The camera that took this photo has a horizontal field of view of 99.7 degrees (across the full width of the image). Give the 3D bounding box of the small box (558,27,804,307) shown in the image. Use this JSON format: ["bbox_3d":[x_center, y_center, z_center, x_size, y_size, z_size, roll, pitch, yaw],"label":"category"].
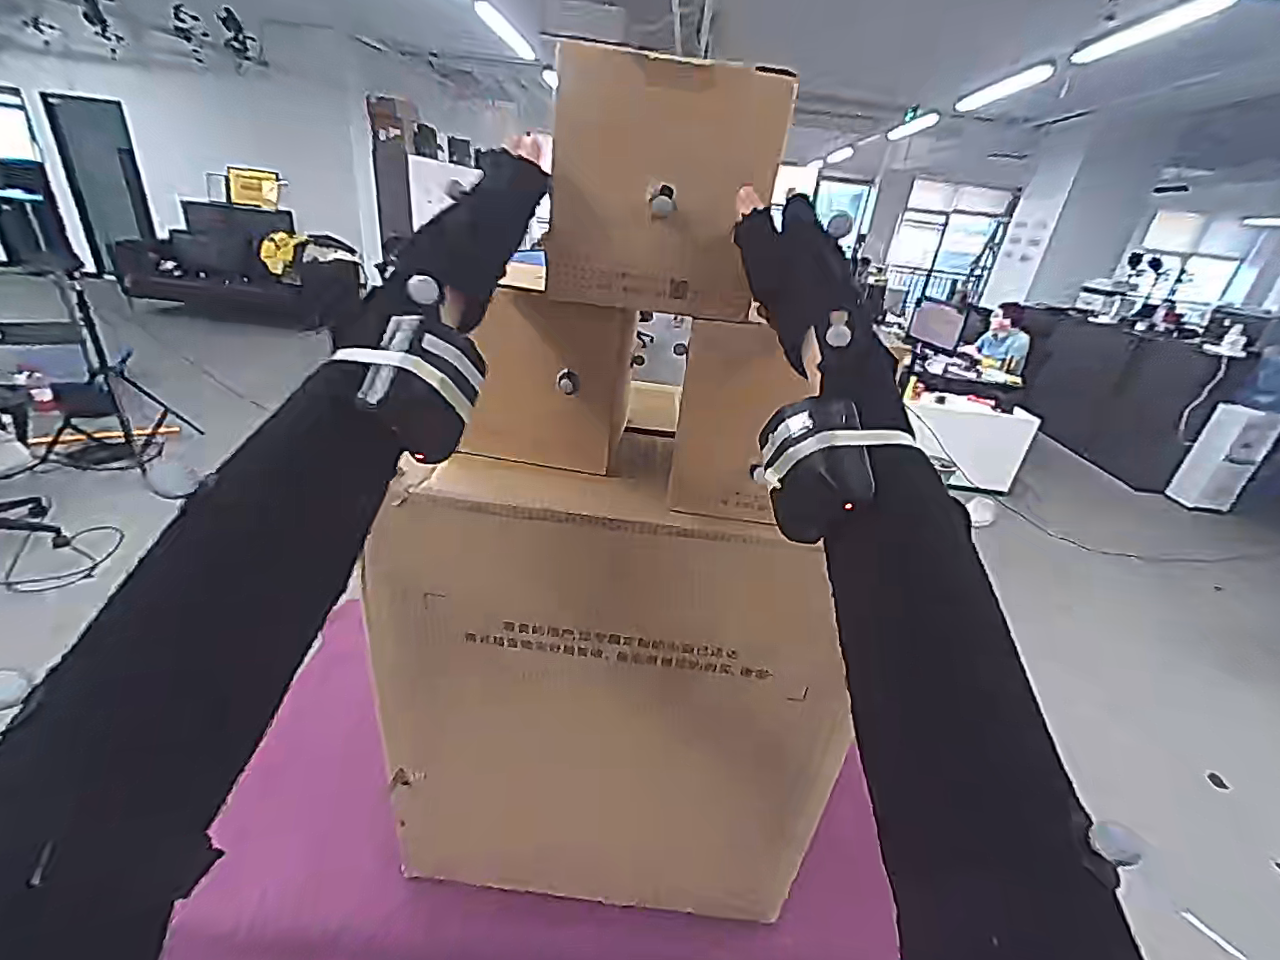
[{"bbox_3d":[0.021,-0.252,0.466,0.168,0.176,0.179,6,26,-4],"label":"small box"}]

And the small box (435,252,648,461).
[{"bbox_3d":[-0.092,-0.132,0.564,0.179,0.176,0.168,8,26,2],"label":"small box"}]

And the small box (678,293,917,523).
[{"bbox_3d":[0.129,-0.080,0.518,0.168,0.176,0.179,7,26,4],"label":"small box"}]
